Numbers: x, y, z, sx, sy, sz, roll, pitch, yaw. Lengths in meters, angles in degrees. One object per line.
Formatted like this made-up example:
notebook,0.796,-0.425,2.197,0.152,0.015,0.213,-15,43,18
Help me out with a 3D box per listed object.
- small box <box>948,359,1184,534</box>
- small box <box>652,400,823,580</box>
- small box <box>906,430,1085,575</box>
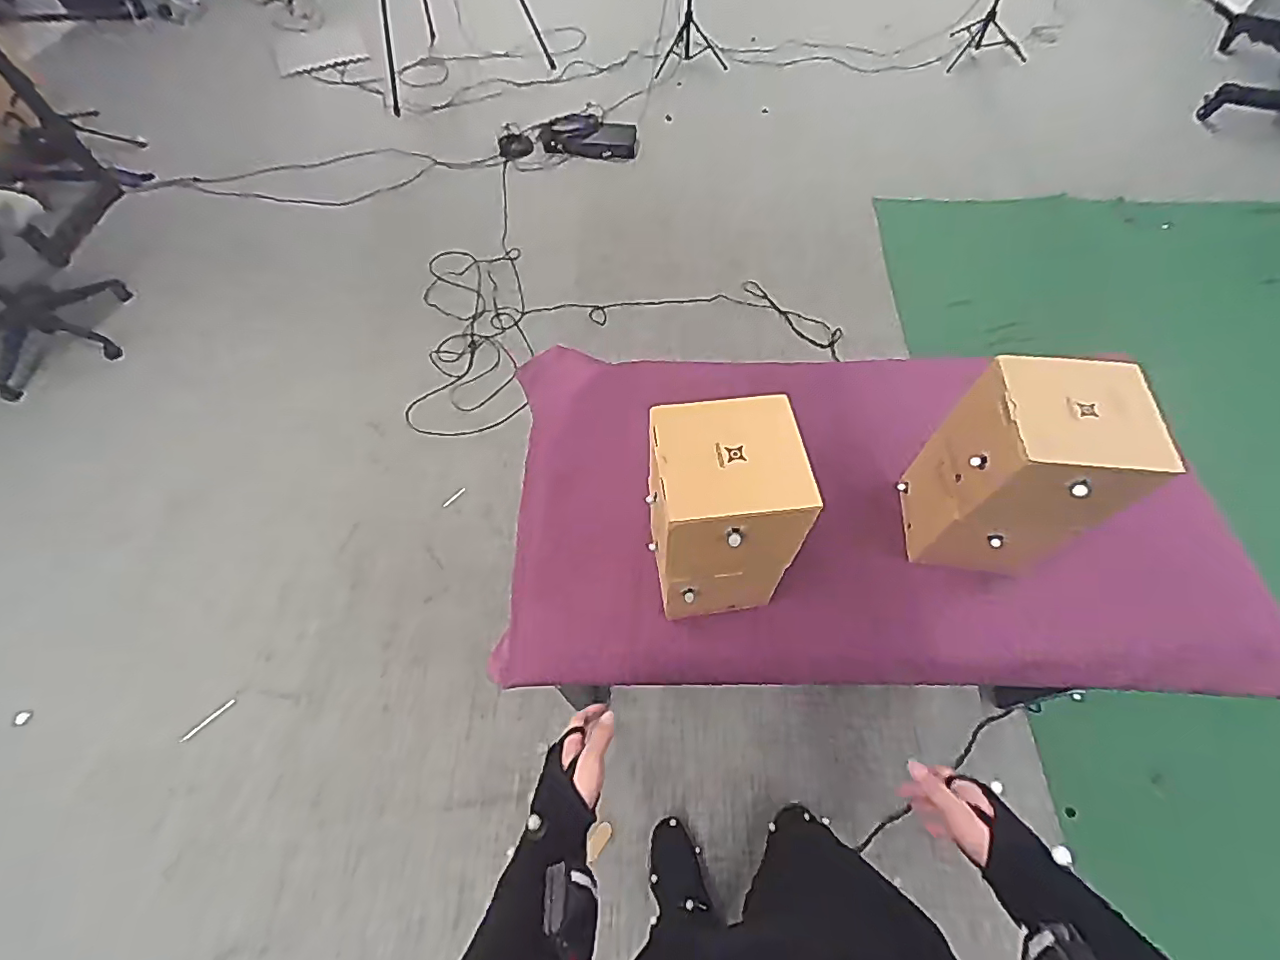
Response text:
small box,0.539,-0.039,0.723,0.179,0.176,0.168,5,61,4
small box,0.110,0.019,0.700,0.179,0.176,0.168,-6,58,-2
small box,0.545,0.041,0.865,0.179,0.176,0.168,6,60,5
